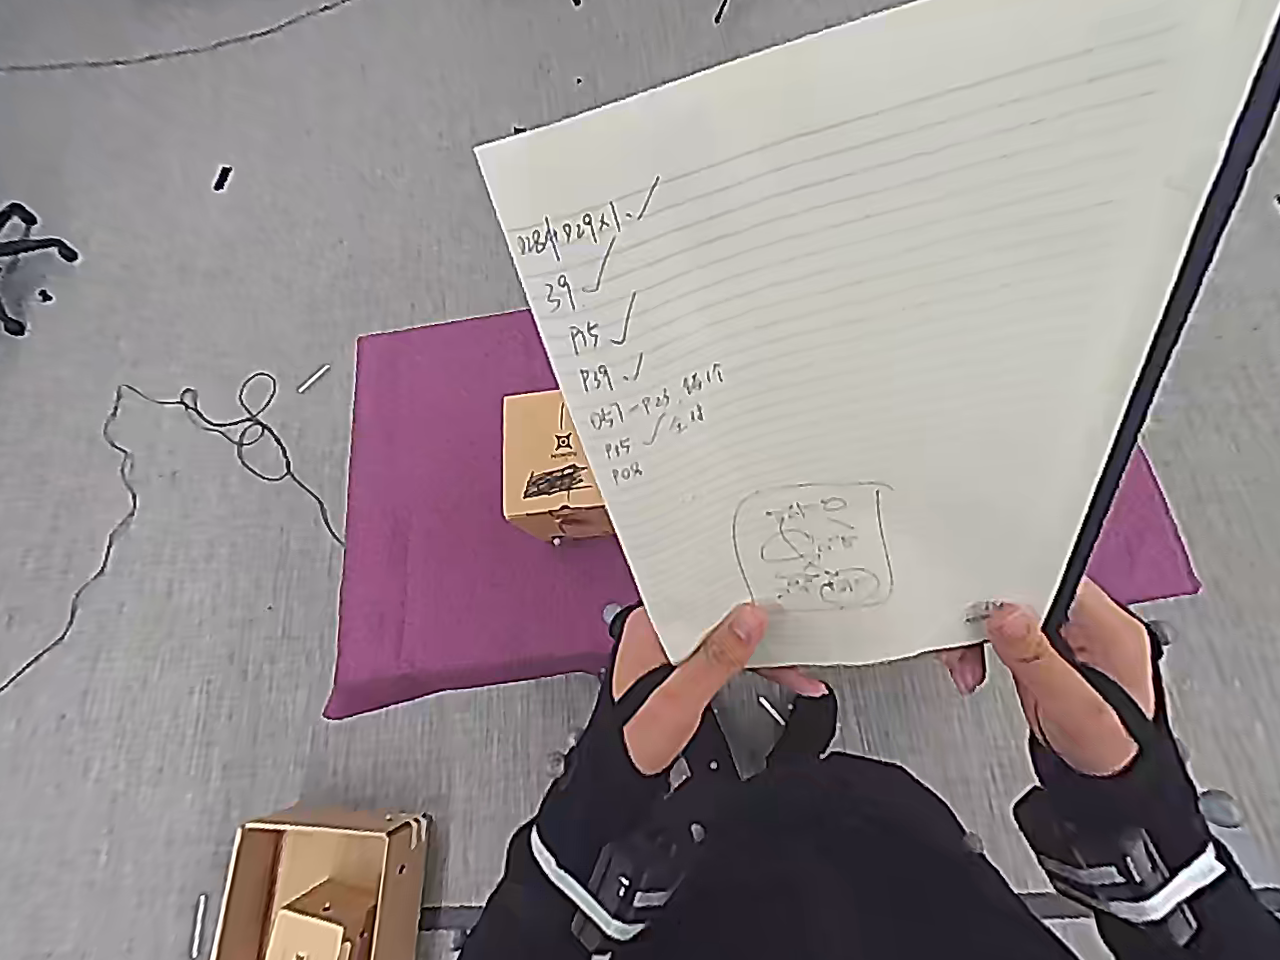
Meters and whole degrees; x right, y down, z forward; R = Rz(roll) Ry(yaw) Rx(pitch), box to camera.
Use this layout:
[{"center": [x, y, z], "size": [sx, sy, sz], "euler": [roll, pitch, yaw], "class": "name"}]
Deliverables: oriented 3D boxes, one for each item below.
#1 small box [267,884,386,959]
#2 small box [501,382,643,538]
[{"center": [-0.727, 1.080, 1.257], "size": [0.179, 0.176, 0.168], "euler": [6, 74, 10], "class": "small box"}, {"center": [-0.090, -0.017, 0.781], "size": [0.168, 0.176, 0.179], "euler": [-7, 71, 6], "class": "small box"}]
